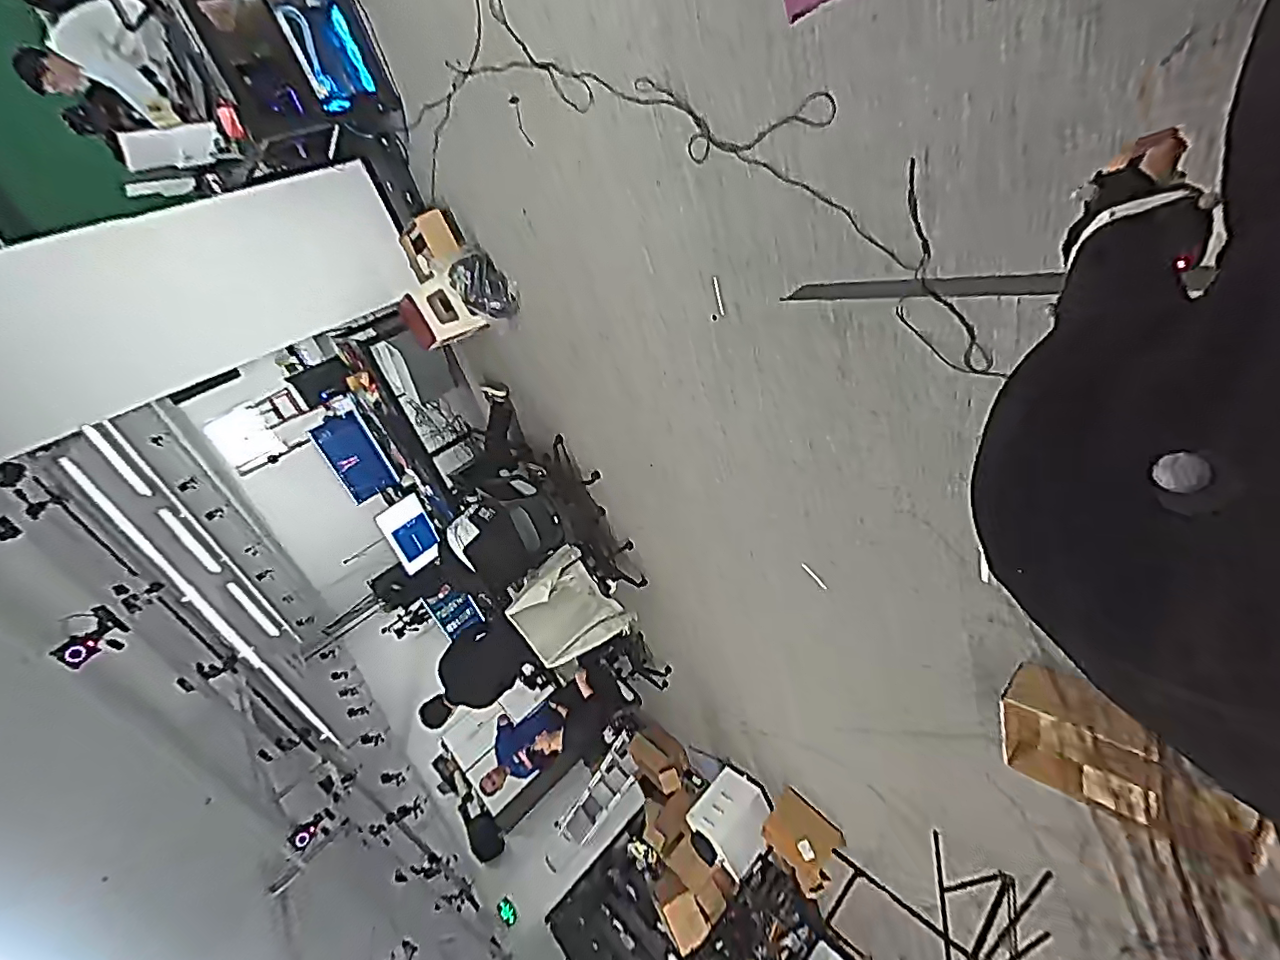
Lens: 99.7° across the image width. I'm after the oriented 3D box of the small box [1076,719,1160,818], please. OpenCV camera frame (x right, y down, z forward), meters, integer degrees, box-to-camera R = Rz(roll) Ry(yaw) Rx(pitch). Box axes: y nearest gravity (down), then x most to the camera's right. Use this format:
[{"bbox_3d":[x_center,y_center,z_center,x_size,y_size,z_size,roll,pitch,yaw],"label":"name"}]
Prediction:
[{"bbox_3d":[1.483,0.888,1.679,0.168,0.176,0.179,11,132,50],"label":"small box"}]
